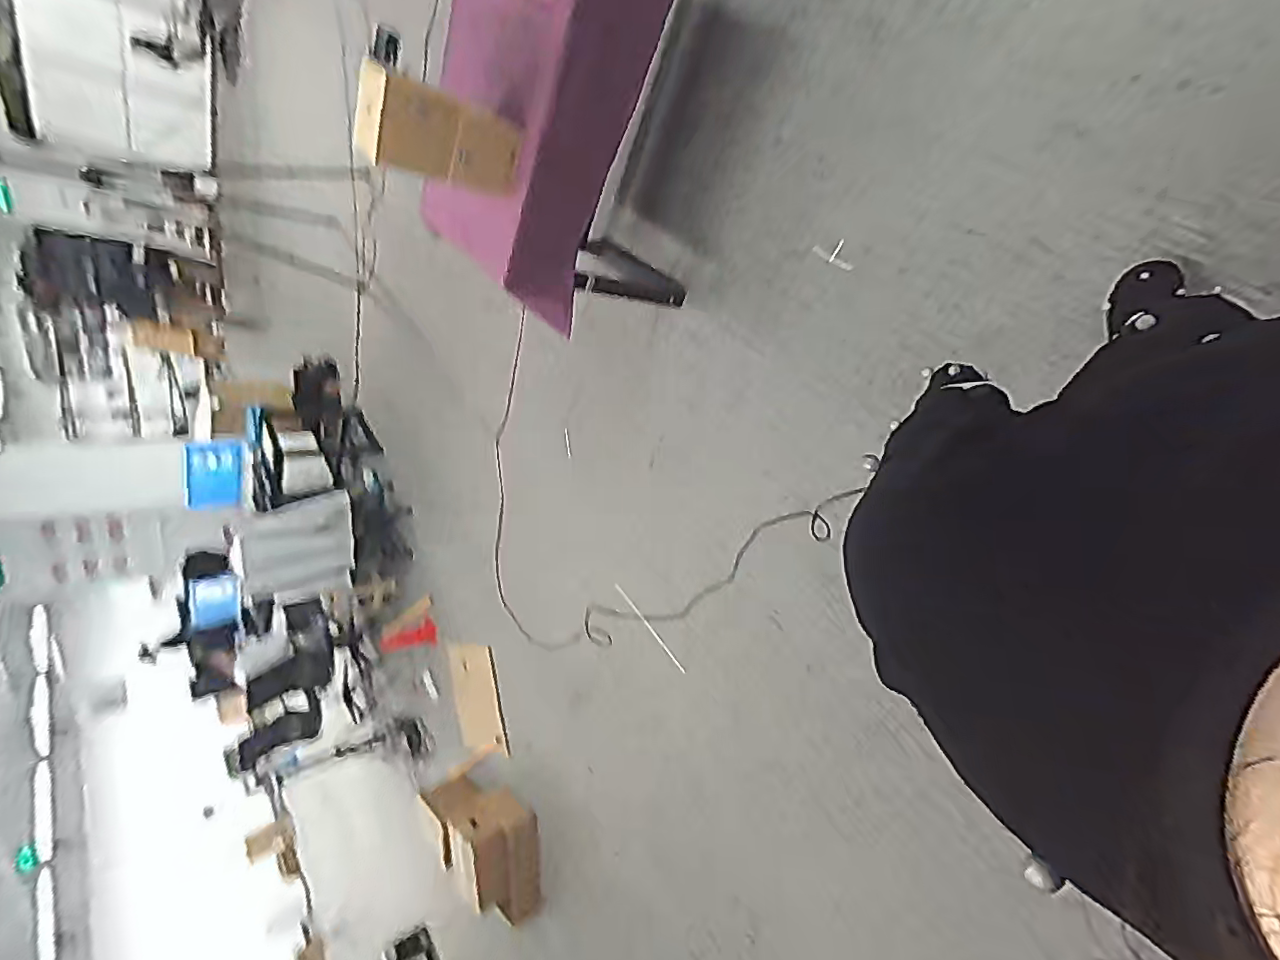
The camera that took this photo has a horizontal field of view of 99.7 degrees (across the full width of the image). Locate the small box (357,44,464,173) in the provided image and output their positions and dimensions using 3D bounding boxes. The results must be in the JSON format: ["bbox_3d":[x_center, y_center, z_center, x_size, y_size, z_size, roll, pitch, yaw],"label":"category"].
[{"bbox_3d":[-0.524,-0.842,1.239,0.168,0.176,0.179,50,128,30],"label":"small box"}]

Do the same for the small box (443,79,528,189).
[{"bbox_3d":[-0.407,-0.857,1.352,0.179,0.176,0.168,49,128,31],"label":"small box"}]
